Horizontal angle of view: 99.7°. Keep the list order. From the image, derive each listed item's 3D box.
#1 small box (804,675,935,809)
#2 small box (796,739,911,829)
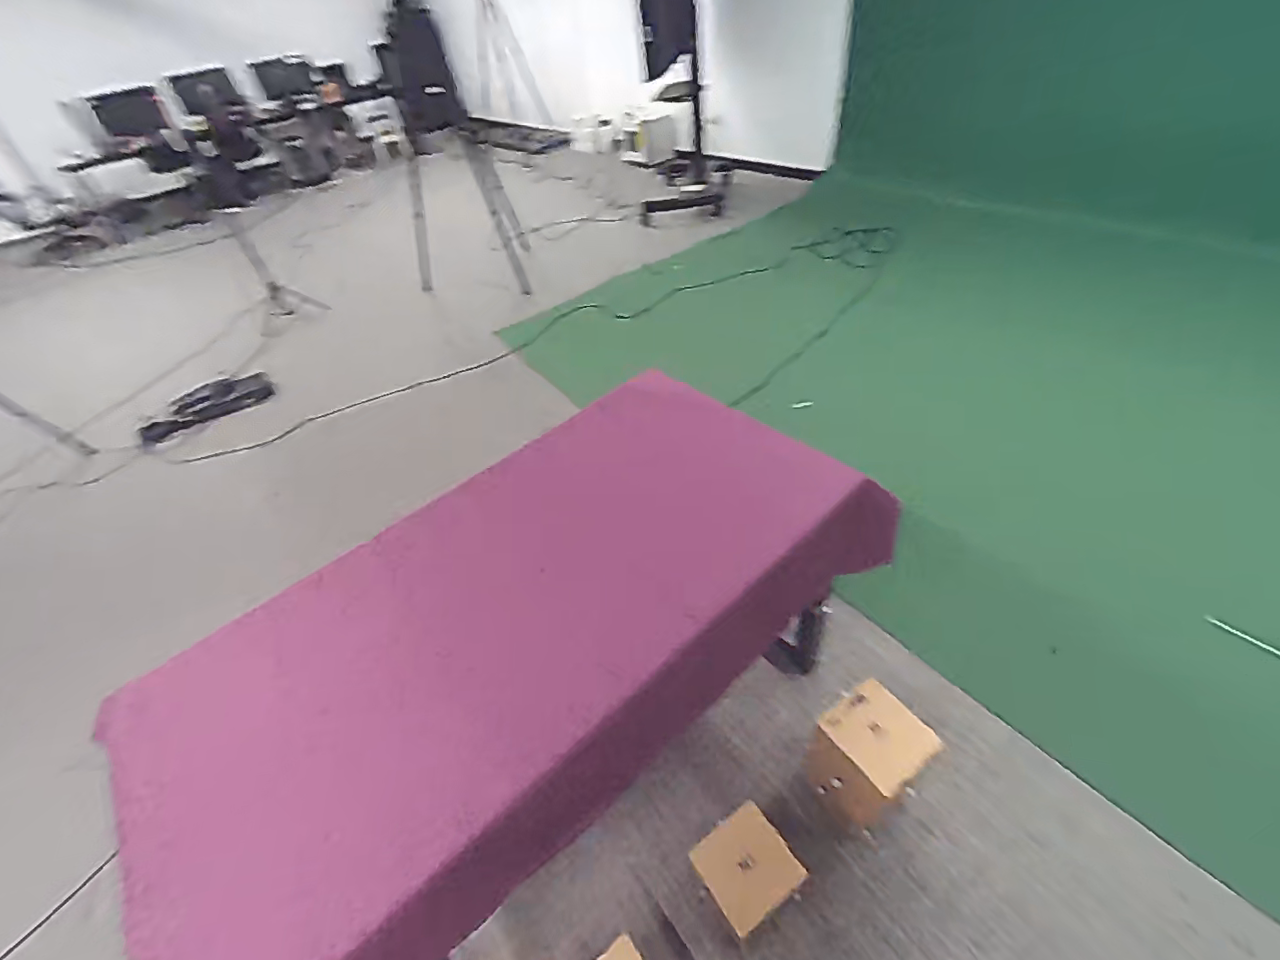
[{"bbox_3d":[0.467,0.551,1.126,0.168,0.176,0.179,-29,48,-19],"label":"small box"},{"bbox_3d":[0.480,0.667,1.242,0.168,0.176,0.179,-26,45,-17],"label":"small box"}]
